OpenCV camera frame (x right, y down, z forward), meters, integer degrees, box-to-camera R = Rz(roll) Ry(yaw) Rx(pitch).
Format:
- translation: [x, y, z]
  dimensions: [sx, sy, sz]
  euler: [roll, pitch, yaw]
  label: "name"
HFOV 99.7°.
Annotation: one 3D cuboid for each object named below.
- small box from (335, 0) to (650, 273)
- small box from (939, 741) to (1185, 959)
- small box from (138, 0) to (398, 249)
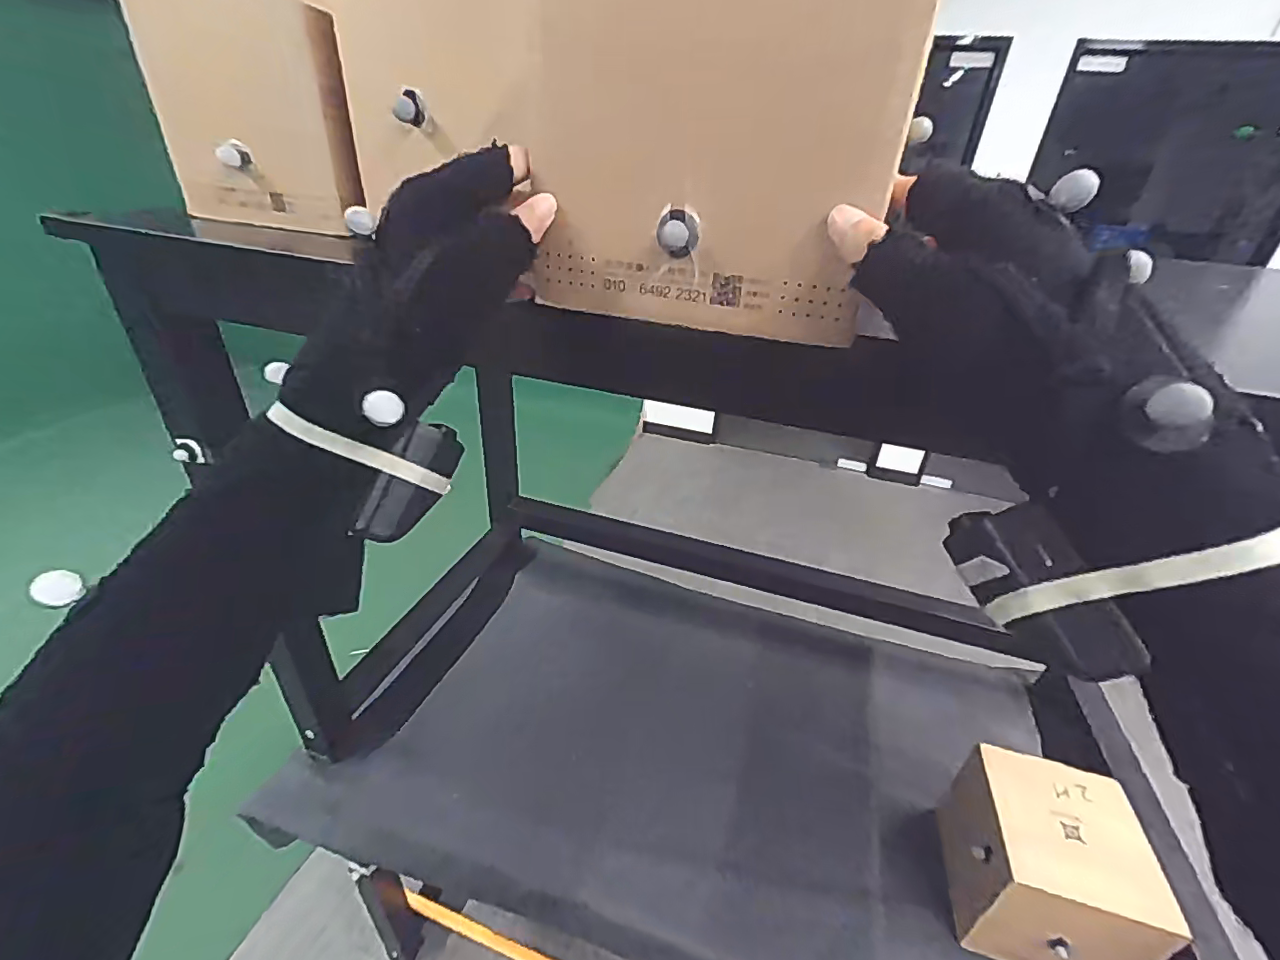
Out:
- translation: [-0.101, -0.274, 0.442]
  dimensions: [0.168, 0.176, 0.179]
  euler: [15, 32, 17]
  label: "small box"
- translation: [0.500, 0.475, 0.677]
  dimensions: [0.168, 0.176, 0.179]
  euler: [12, 31, 13]
  label: "small box"
- translation: [-0.280, -0.317, 0.488]
  dimensions: [0.168, 0.176, 0.179]
  euler: [12, 33, 13]
  label: "small box"
